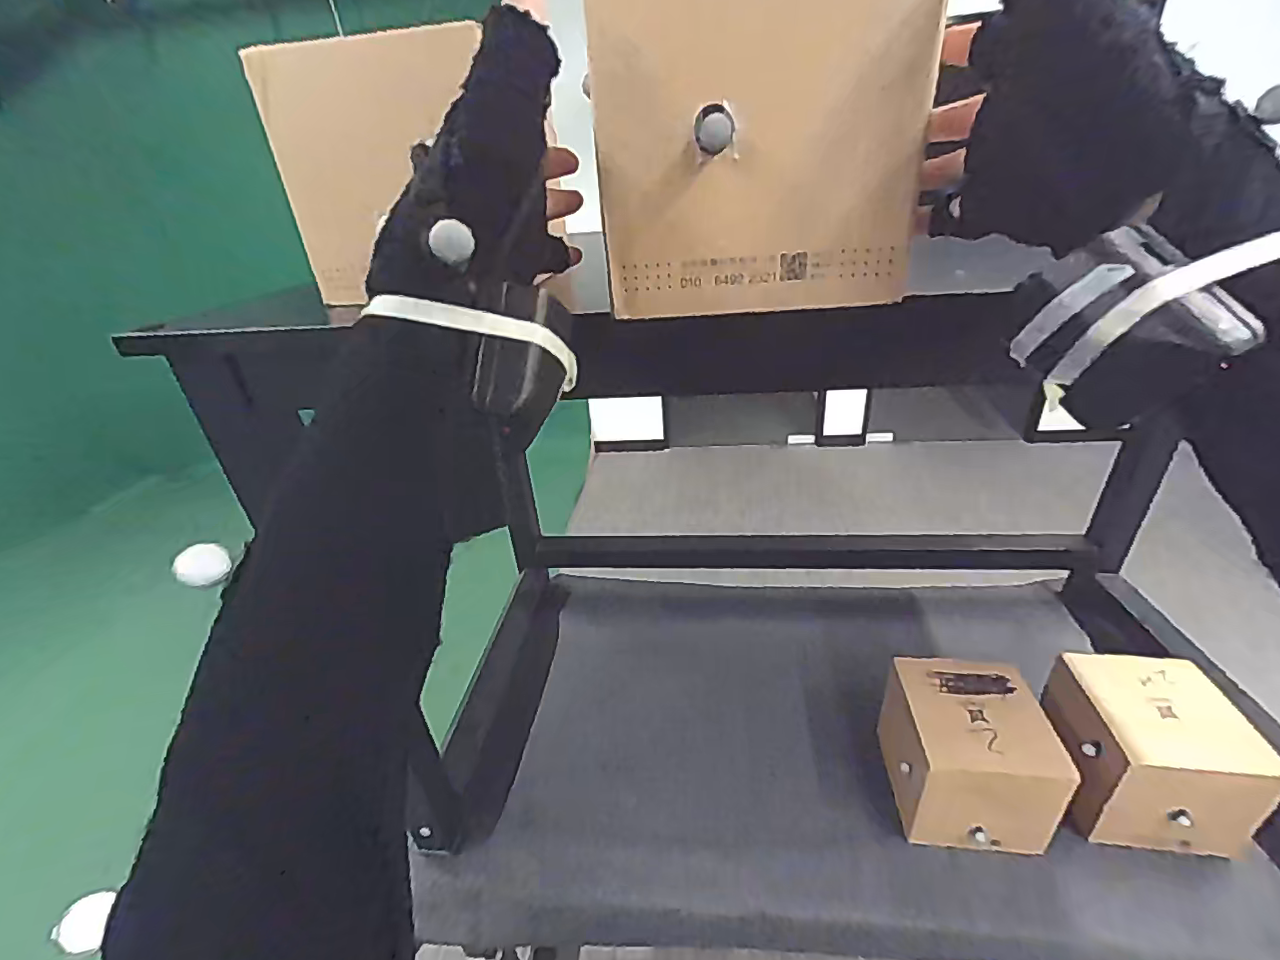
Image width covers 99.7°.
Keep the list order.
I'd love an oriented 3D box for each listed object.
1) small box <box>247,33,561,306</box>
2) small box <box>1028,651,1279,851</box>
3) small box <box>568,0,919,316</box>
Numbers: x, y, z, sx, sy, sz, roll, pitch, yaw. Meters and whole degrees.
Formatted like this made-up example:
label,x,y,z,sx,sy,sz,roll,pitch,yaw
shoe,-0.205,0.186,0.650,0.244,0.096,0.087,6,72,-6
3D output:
label,x,y,z,sx,sy,sz,roll,pitch,yaw
small box,-0.171,-0.252,0.462,0.168,0.176,0.179,0,30,8
small box,0.668,0.361,0.730,0.168,0.176,0.179,1,29,11
small box,0.061,-0.205,0.347,0.168,0.176,0.179,-1,29,6
